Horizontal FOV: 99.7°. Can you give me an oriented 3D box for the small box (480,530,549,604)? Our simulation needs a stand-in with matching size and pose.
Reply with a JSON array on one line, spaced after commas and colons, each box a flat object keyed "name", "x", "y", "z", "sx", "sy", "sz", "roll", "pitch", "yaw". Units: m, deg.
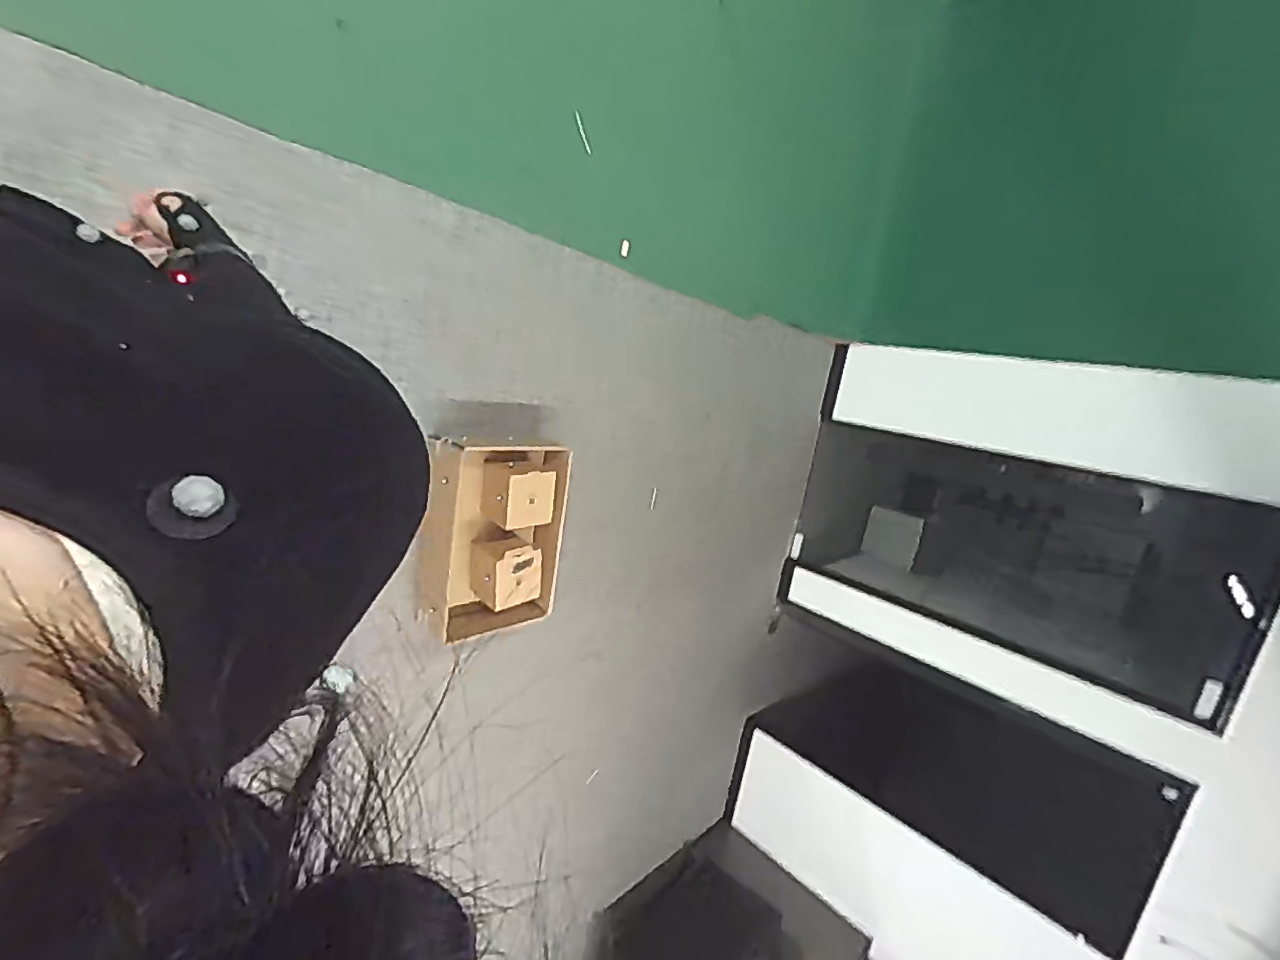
[{"name": "small box", "x": -0.415, "y": 0.274, "z": 1.774, "sx": 0.168, "sy": 0.176, "sz": 0.179, "roll": -11, "pitch": 113, "yaw": -42}]

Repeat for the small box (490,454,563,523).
[{"name": "small box", "x": -0.365, "y": 0.018, "z": 1.722, "sx": 0.168, "sy": 0.176, "sz": 0.179, "roll": -7, "pitch": 112, "yaw": -42}]
